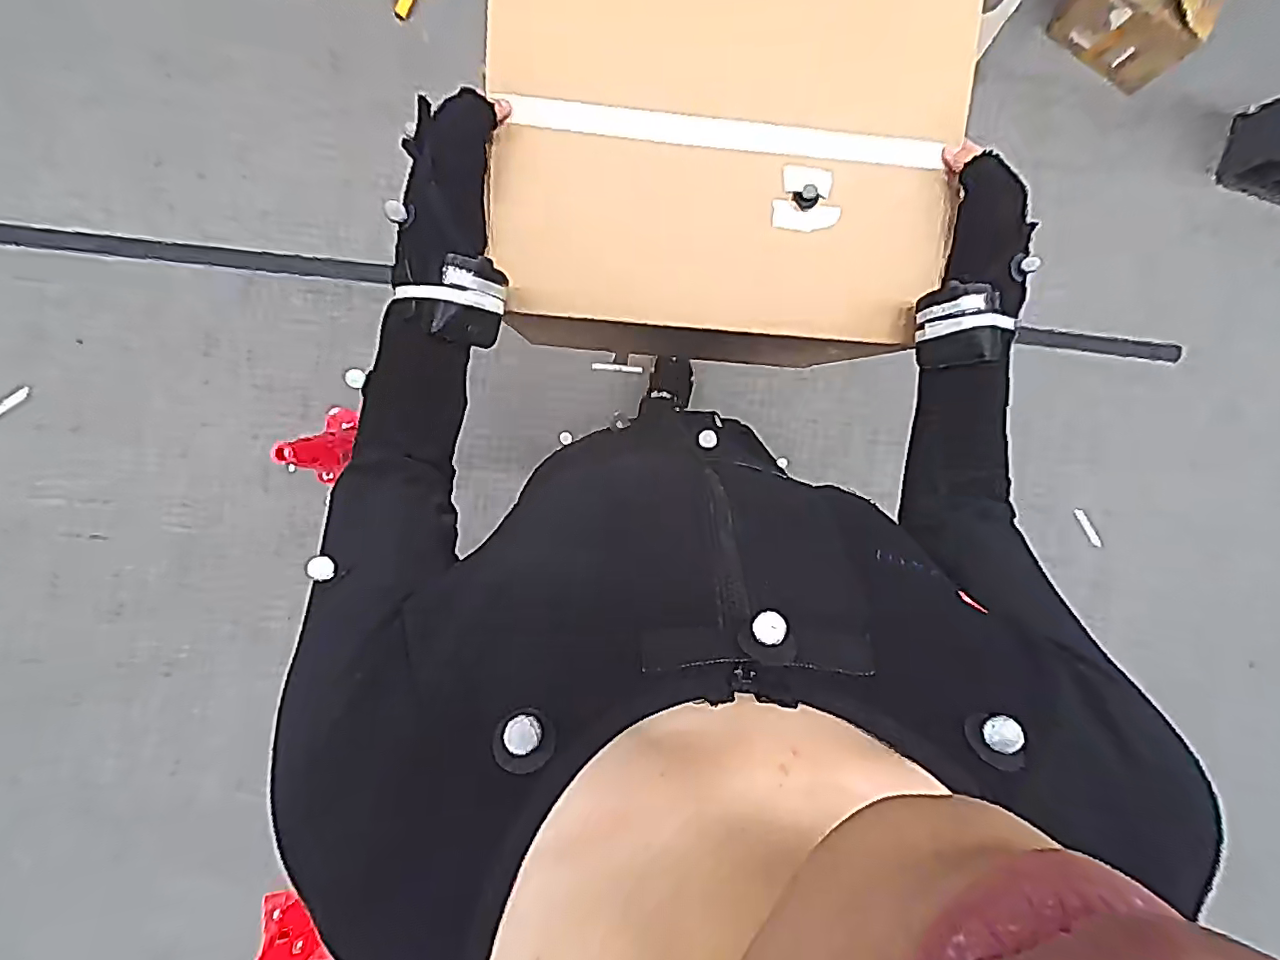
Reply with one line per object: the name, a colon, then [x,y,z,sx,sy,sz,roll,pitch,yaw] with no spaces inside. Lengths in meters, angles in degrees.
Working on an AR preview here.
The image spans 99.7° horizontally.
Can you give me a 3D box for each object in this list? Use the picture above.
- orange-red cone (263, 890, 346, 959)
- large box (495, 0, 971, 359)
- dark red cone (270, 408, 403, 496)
orange-red cone: [-0.890,1.221,1.294,0.198,0.360,0.199,3,95,-3]
large box: [0.065,-0.315,0.606,0.408,0.320,0.320,3,98,-6]
dark red cone: [-0.698,-0.062,1.208,0.201,0.394,0.202,11,93,-6]
